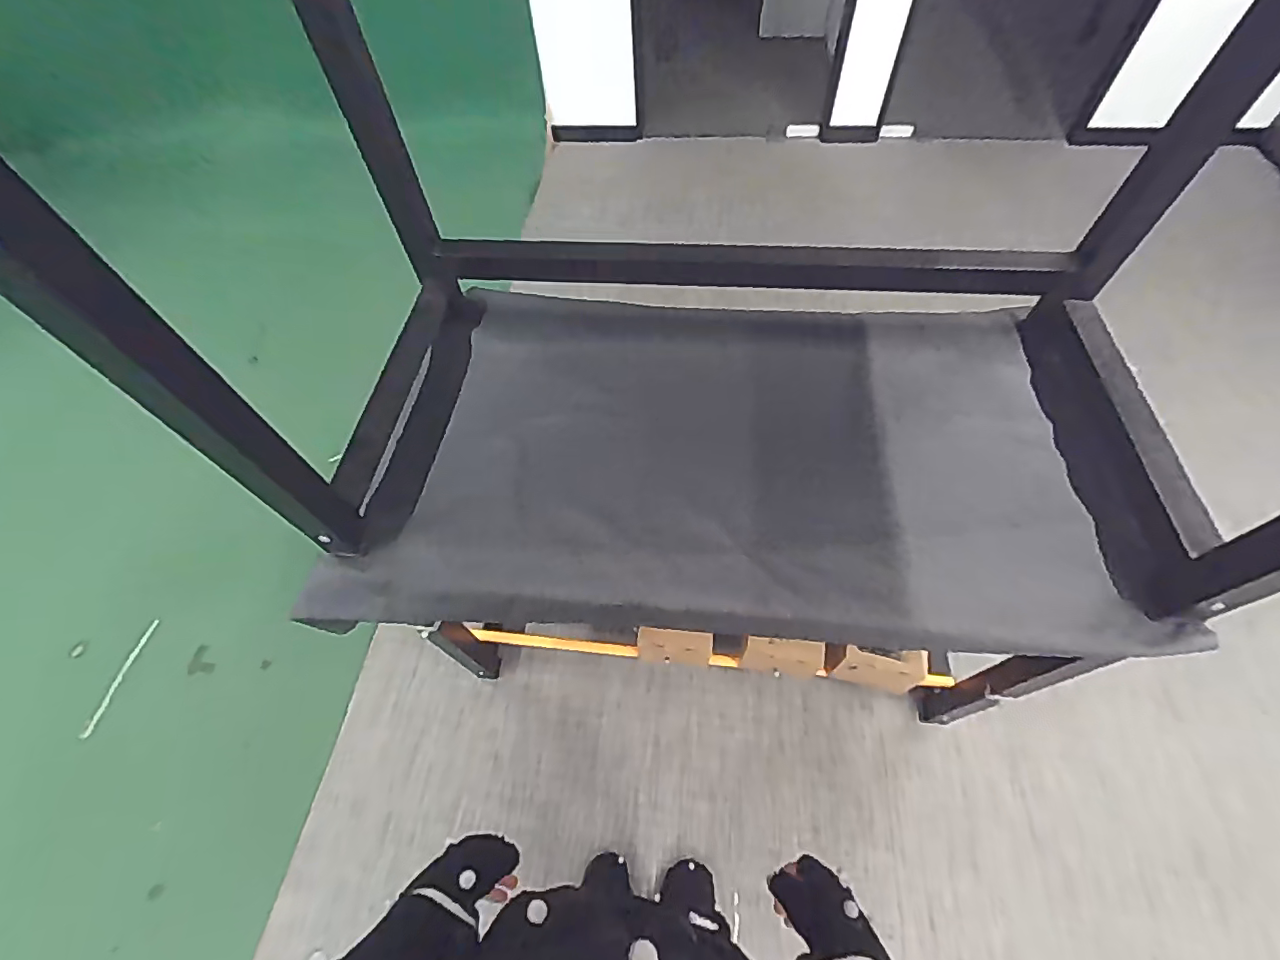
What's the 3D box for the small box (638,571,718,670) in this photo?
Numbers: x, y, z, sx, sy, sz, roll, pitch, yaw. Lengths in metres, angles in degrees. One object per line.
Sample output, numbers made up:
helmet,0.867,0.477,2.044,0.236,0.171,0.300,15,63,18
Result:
small box,0.090,0.336,1.282,0.168,0.176,0.179,6,60,6
